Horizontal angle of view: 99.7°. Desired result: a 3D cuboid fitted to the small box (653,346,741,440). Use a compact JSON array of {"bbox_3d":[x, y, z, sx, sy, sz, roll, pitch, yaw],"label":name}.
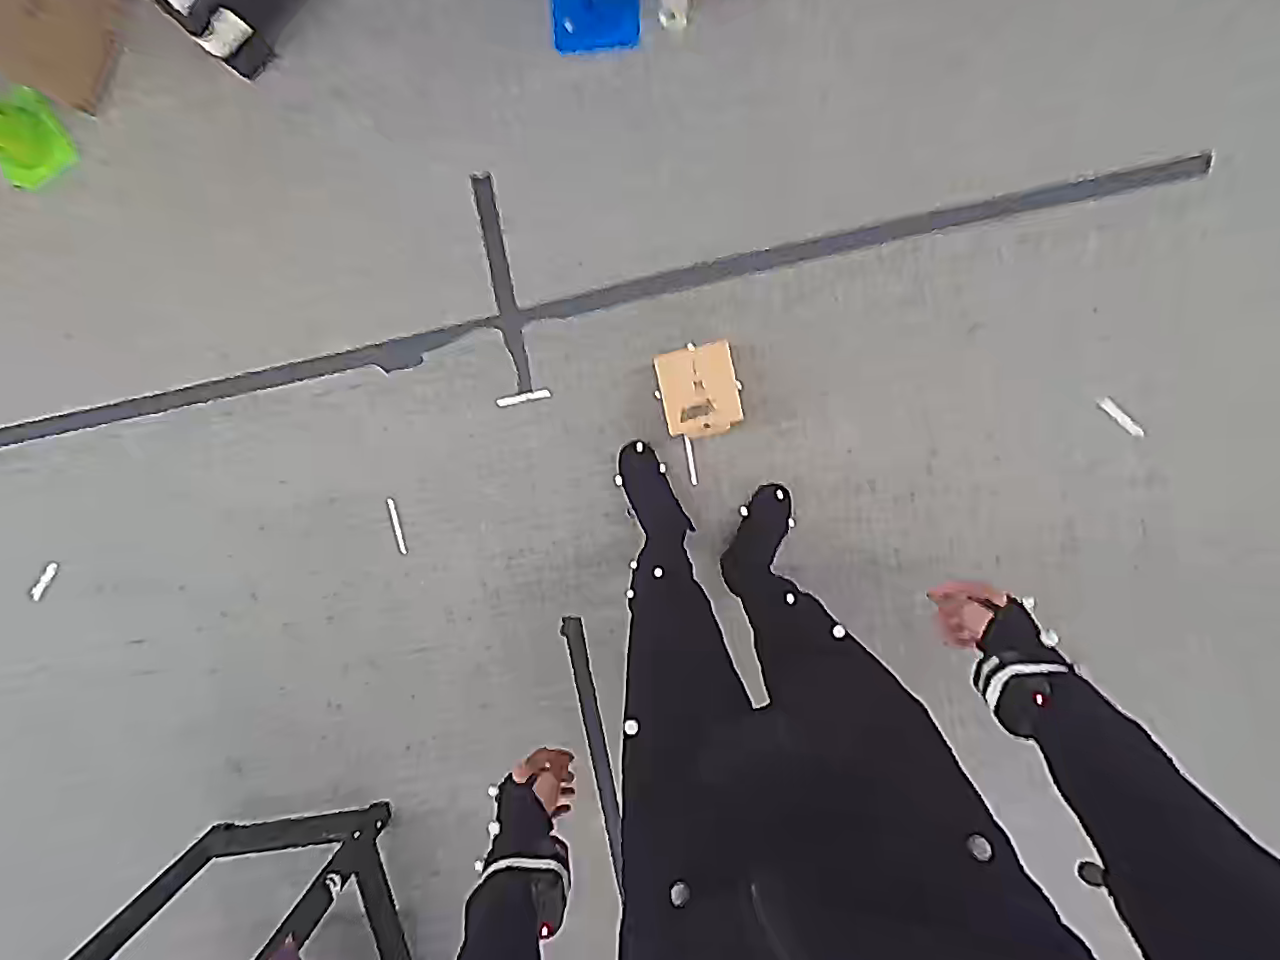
[{"bbox_3d":[0.132,-0.200,1.251,0.168,0.176,0.179,-12,97,6],"label":"small box"}]
